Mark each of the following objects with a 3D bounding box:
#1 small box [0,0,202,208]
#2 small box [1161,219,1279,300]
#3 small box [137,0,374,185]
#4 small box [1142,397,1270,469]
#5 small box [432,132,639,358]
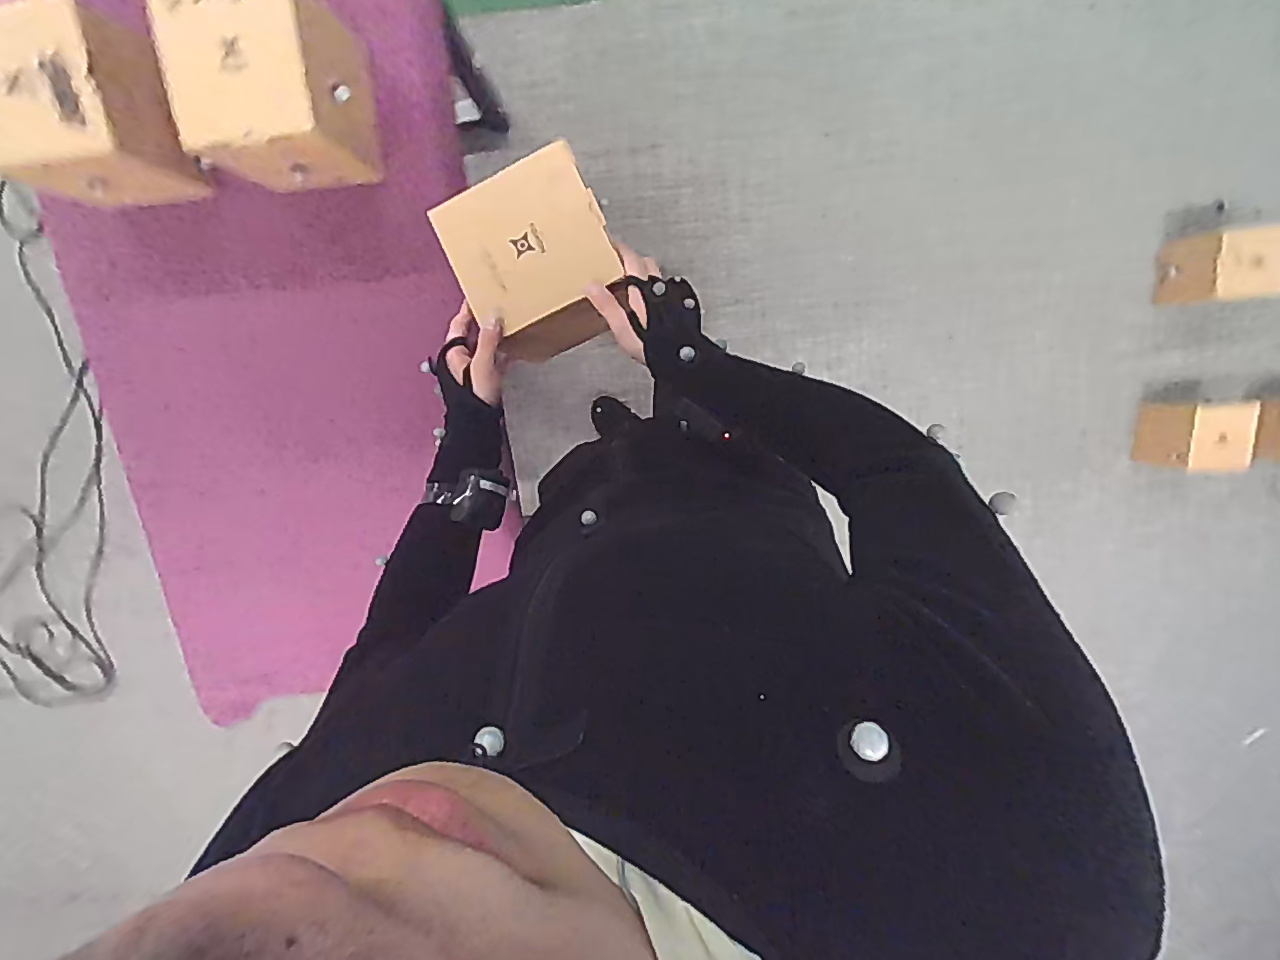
[{"bbox_3d":[-0.717,-0.469,0.698,0.179,0.176,0.168,-6,102,3],"label":"small box"},{"bbox_3d":[1.499,-0.557,1.374,0.179,0.176,0.168,-4,102,2],"label":"small box"},{"bbox_3d":[-0.467,-0.493,0.686,0.168,0.176,0.179,-4,103,3],"label":"small box"},{"bbox_3d":[1.522,-0.132,1.466,0.168,0.176,0.179,-3,103,2],"label":"small box"},{"bbox_3d":[-0.108,-0.264,0.655,0.179,0.176,0.168,-22,91,8],"label":"small box"}]
